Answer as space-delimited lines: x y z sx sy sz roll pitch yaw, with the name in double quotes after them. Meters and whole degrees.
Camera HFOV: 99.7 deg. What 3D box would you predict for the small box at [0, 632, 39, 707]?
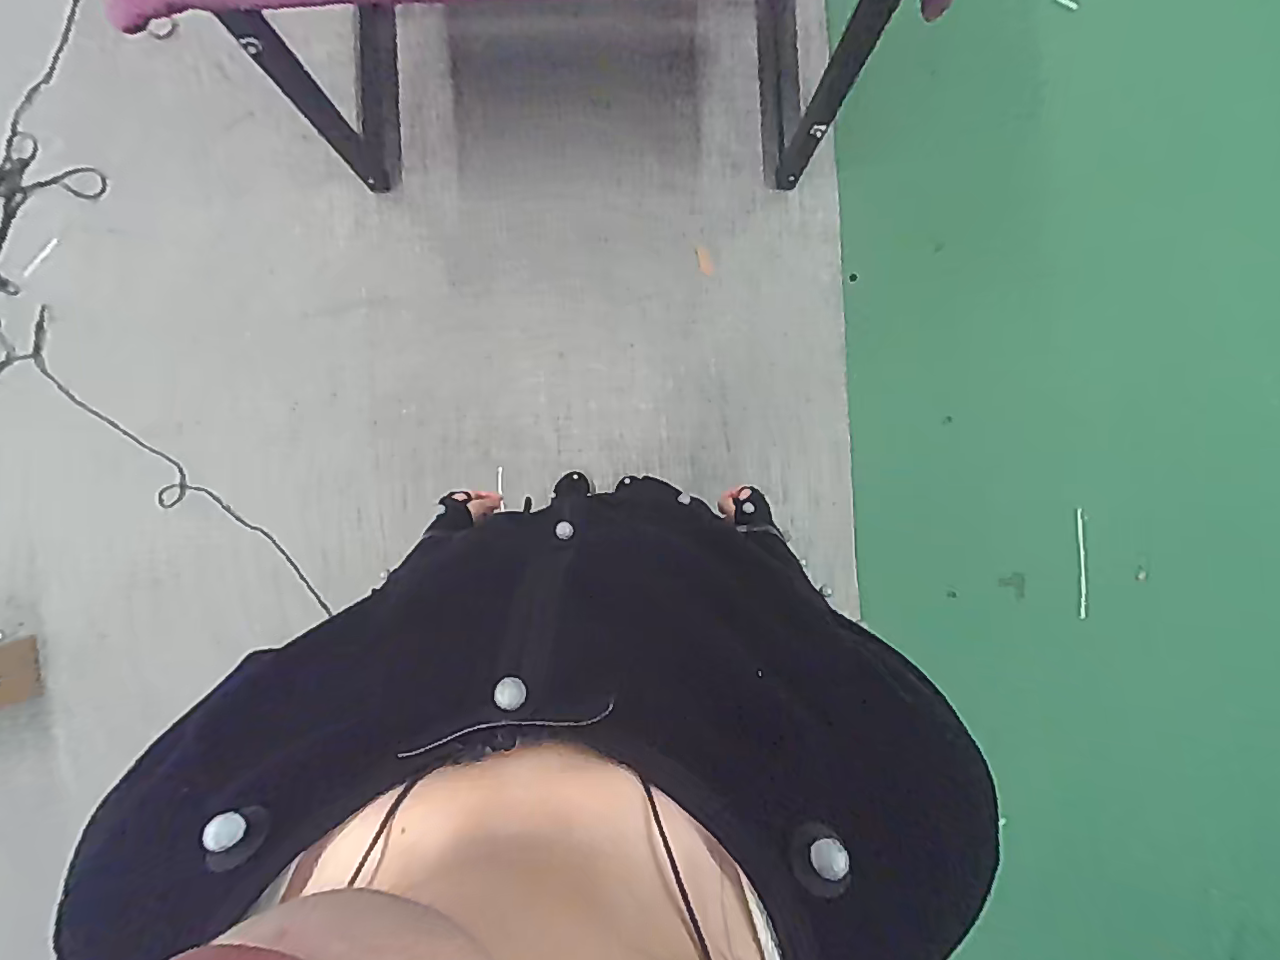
-1.727 0.506 1.399 0.168 0.176 0.179 -4 90 -2 "small box"
